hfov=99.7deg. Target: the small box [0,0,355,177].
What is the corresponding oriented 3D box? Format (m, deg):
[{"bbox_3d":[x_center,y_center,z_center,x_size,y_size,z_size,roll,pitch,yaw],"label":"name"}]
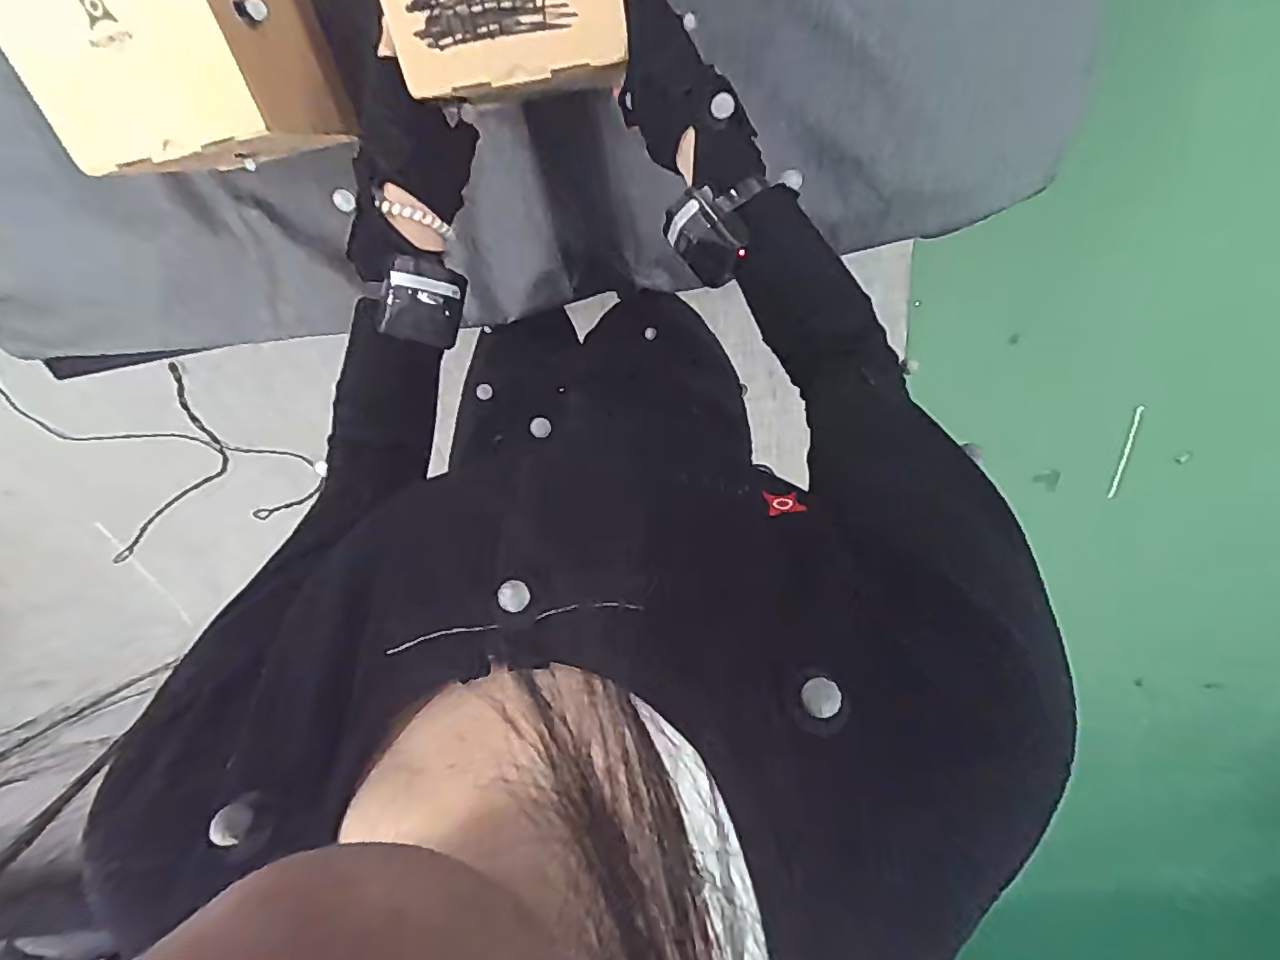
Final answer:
[{"bbox_3d":[-0.382,-0.369,0.451,0.168,0.176,0.179,-9,122,6],"label":"small box"}]
